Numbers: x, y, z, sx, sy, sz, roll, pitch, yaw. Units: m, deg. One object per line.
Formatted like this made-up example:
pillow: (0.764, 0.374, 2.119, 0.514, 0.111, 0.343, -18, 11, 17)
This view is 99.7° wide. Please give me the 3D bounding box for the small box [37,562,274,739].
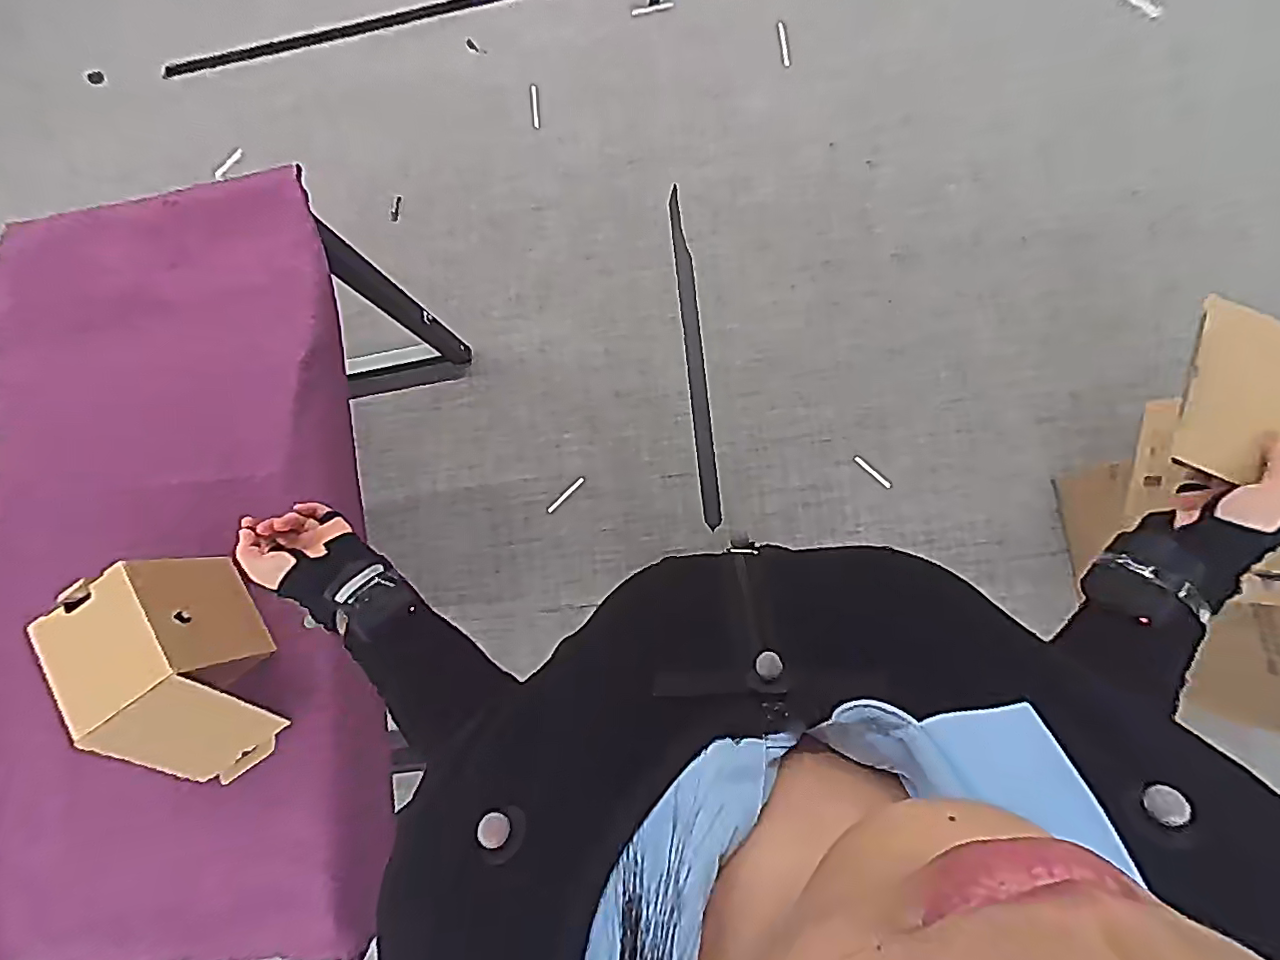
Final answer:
small box: (-0.685, 0.231, 0.785, 0.168, 0.176, 0.179, -35, 79, 2)
